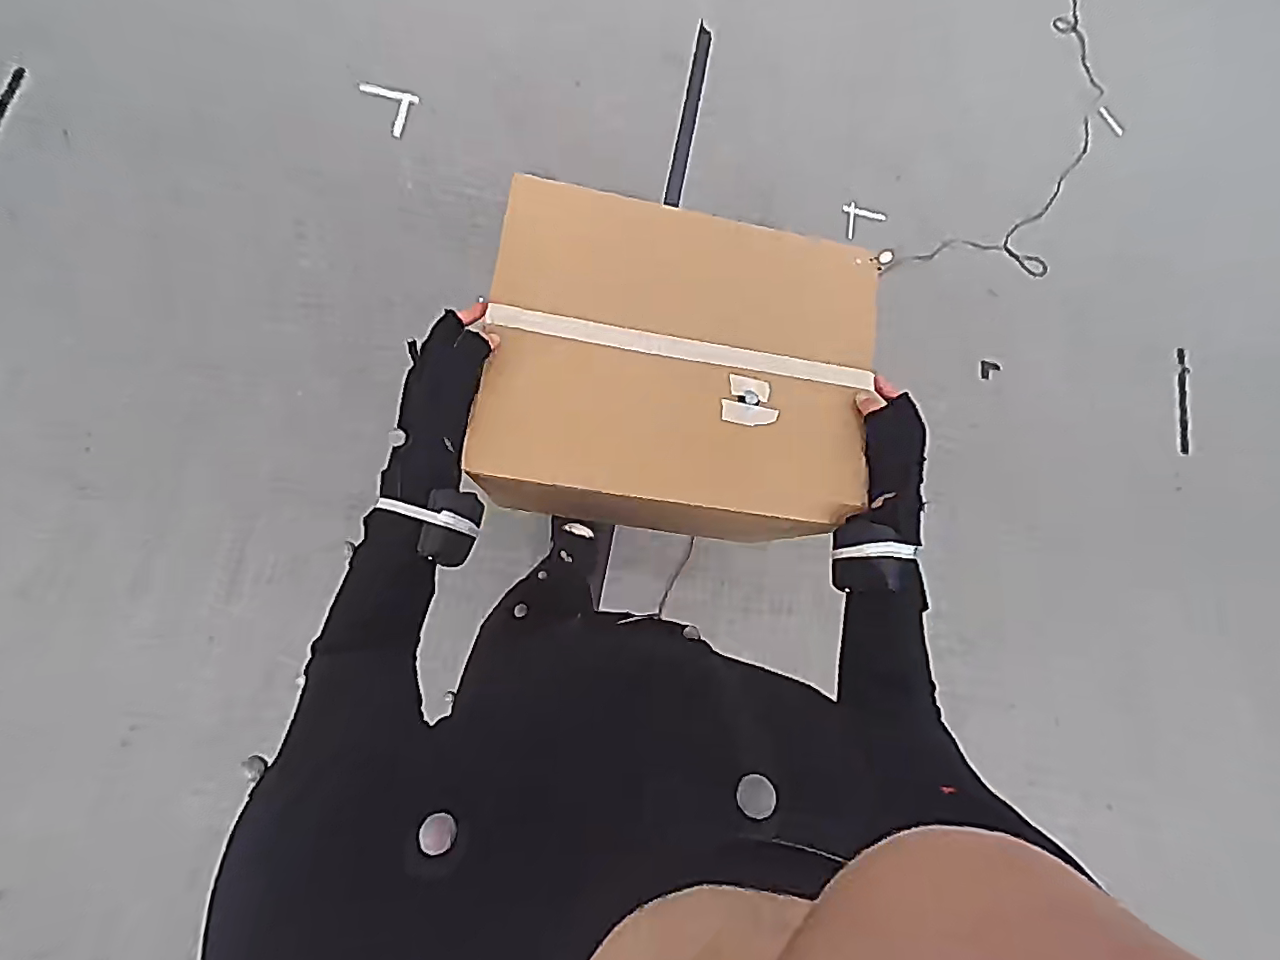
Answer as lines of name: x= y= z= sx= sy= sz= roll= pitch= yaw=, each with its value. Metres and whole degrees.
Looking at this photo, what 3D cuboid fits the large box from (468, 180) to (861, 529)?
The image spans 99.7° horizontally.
large box: x=0.018 y=-0.118 z=0.711 sx=0.408 sy=0.320 sz=0.320 roll=9 pitch=81 yaw=-9
